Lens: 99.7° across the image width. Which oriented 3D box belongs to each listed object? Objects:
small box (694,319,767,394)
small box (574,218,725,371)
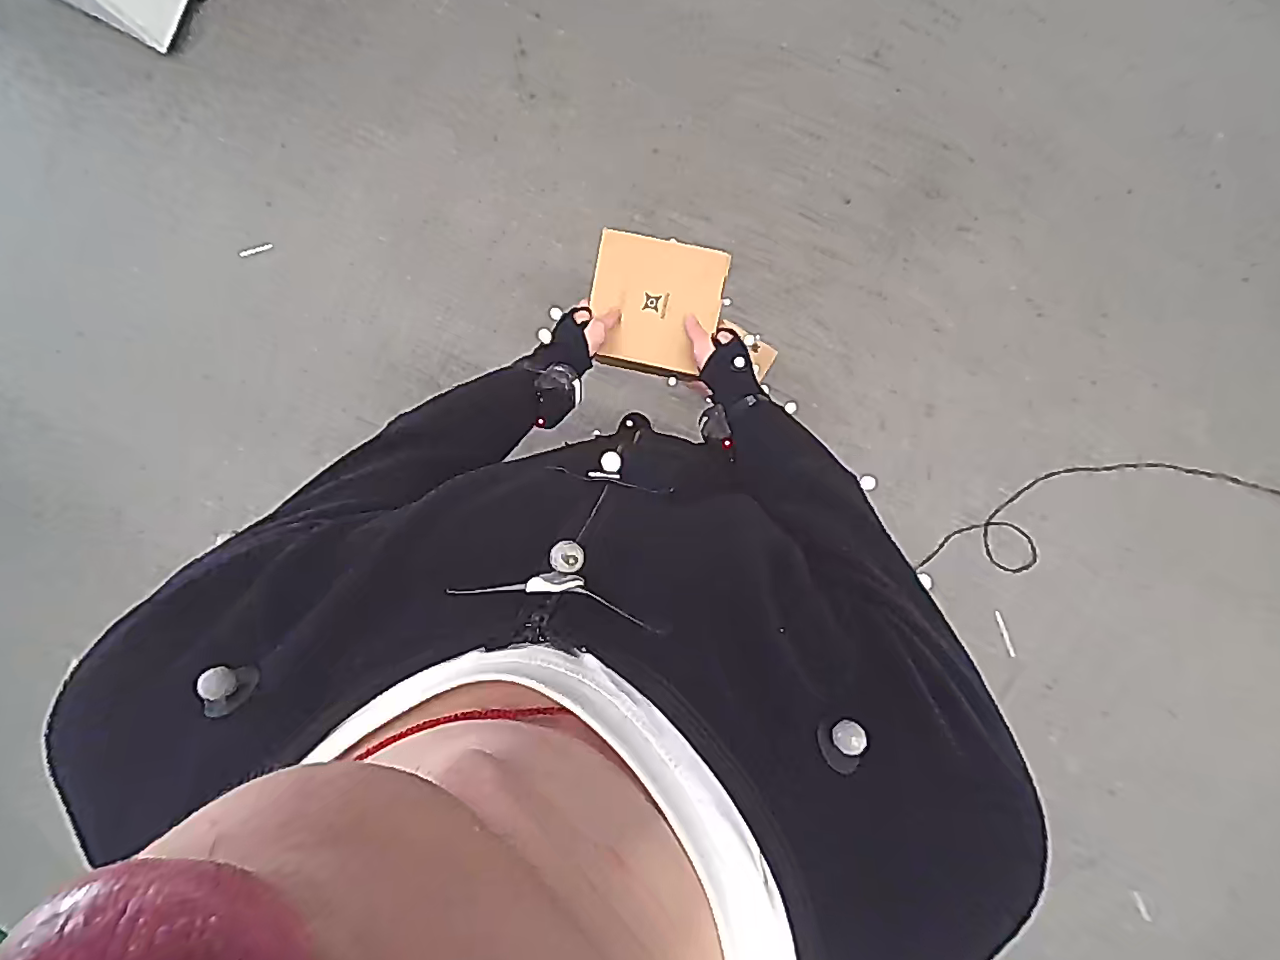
[{"bbox_3d":[0.236,-0.325,1.445,0.179,0.176,0.168,3,92,5],"label":"small box"},{"bbox_3d":[0.017,-0.261,0.804,0.179,0.176,0.168,13,97,4],"label":"small box"}]
